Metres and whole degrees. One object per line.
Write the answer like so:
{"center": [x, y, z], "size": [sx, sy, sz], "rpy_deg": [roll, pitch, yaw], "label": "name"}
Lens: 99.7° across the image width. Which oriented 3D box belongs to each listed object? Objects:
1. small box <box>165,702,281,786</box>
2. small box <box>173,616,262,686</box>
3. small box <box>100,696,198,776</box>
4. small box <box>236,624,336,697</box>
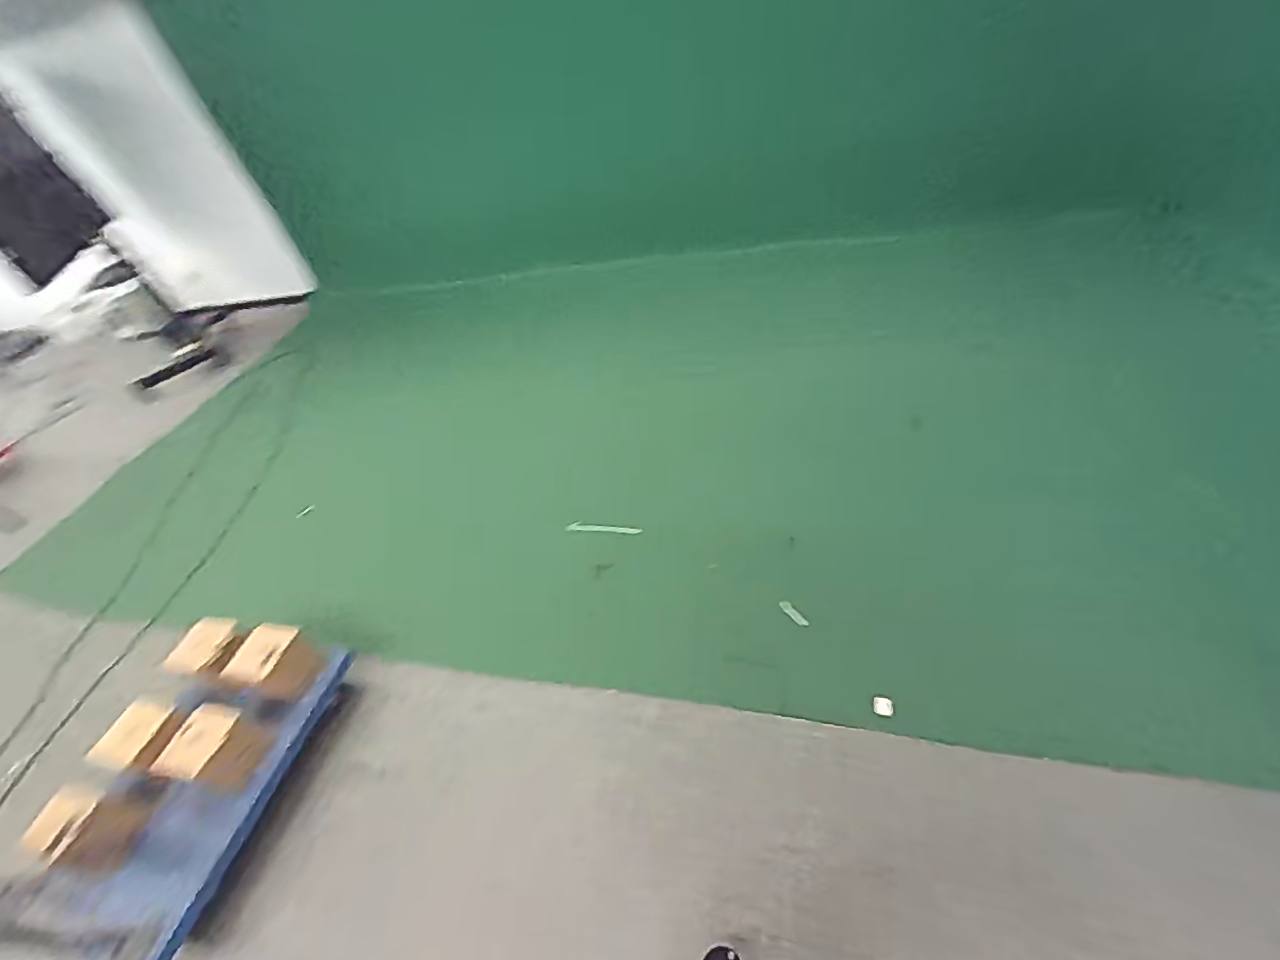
{"center": [-1.219, 0.782, 1.596], "size": [0.179, 0.176, 0.168], "rpy_deg": [3, 47, 19], "label": "small box"}
{"center": [-1.412, 0.586, 1.847], "size": [0.179, 0.176, 0.168], "rpy_deg": [1, 48, 18], "label": "small box"}
{"center": [-1.473, 0.792, 1.668], "size": [0.179, 0.176, 0.168], "rpy_deg": [3, 47, 18], "label": "small box"}
{"center": [-1.155, 0.598, 1.781], "size": [0.179, 0.176, 0.168], "rpy_deg": [1, 47, 19], "label": "small box"}
